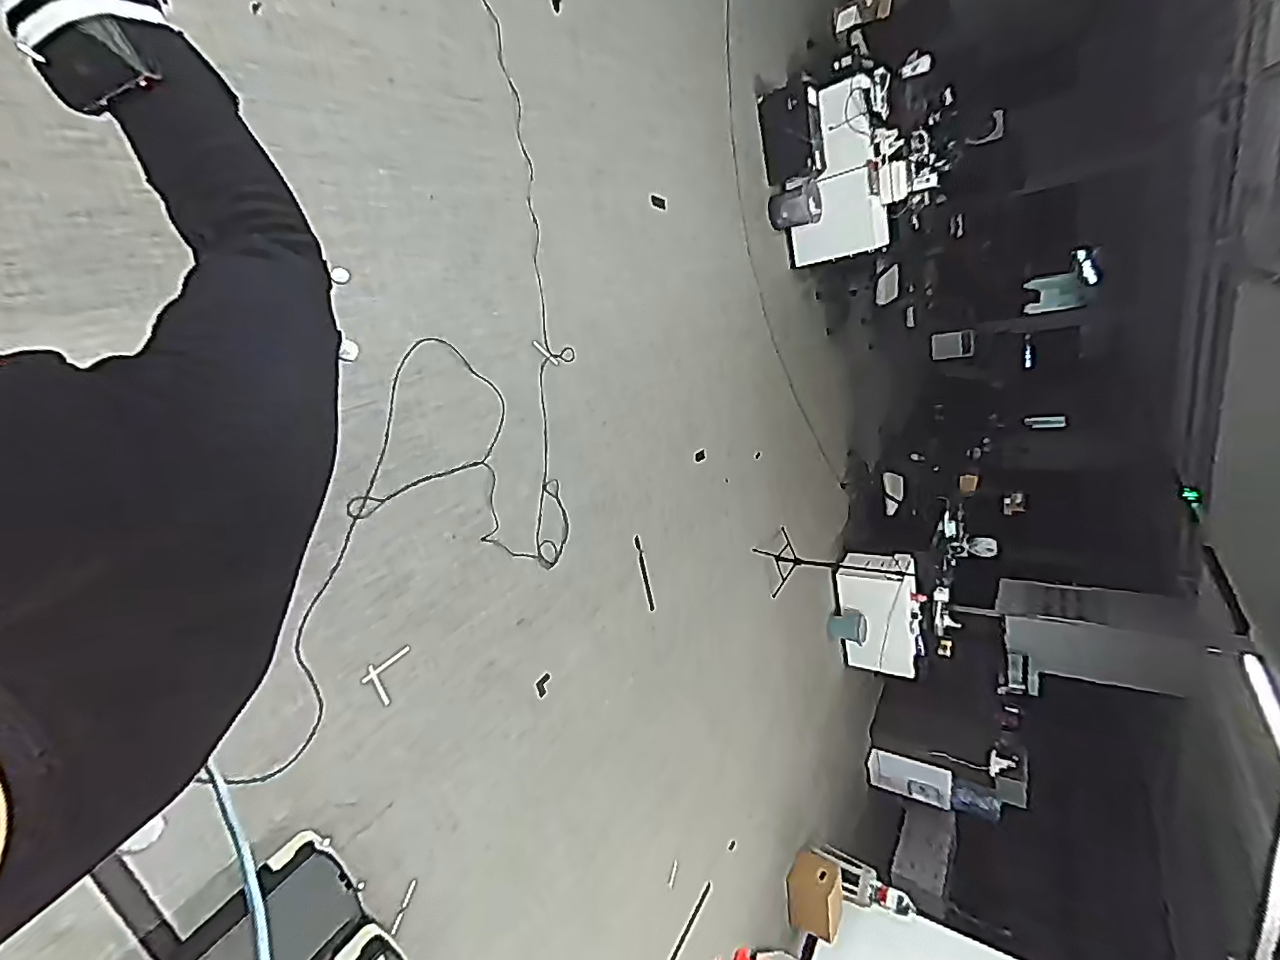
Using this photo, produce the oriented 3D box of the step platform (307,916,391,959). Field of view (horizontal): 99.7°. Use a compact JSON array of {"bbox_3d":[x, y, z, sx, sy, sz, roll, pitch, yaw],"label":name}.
[{"bbox_3d":[-0.890,1.448,1.246,0.684,0.204,0.286,-37,119,-45],"label":"step platform"}]
